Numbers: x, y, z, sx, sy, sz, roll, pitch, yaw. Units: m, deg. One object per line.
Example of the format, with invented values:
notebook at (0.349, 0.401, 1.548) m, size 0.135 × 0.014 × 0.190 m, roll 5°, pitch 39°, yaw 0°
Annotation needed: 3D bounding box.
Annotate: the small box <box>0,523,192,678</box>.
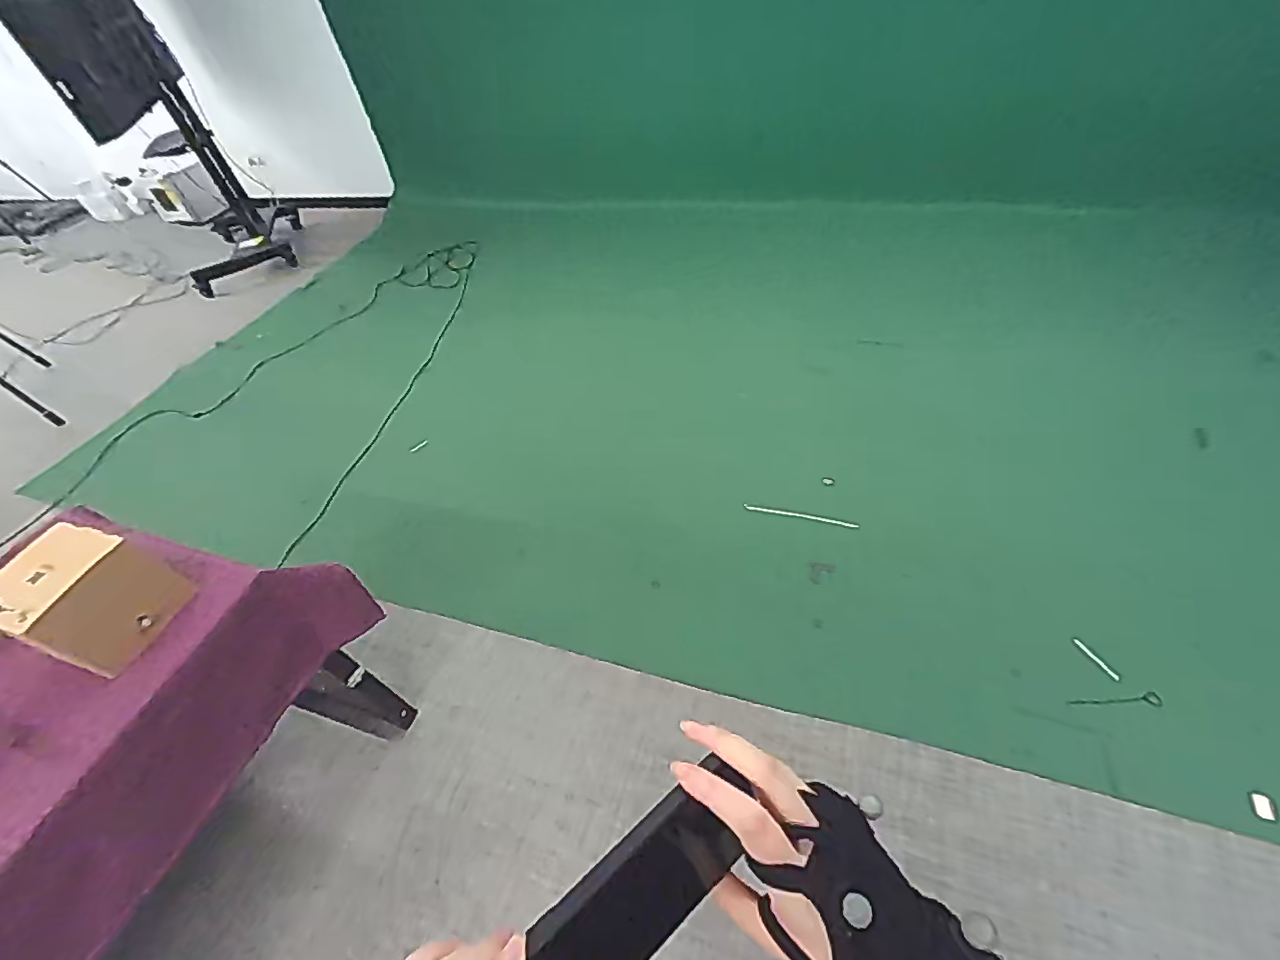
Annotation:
small box at (-0.912, 0.201, 0.906) m, size 0.168 × 0.176 × 0.179 m, roll 8°, pitch 50°, yaw 17°
